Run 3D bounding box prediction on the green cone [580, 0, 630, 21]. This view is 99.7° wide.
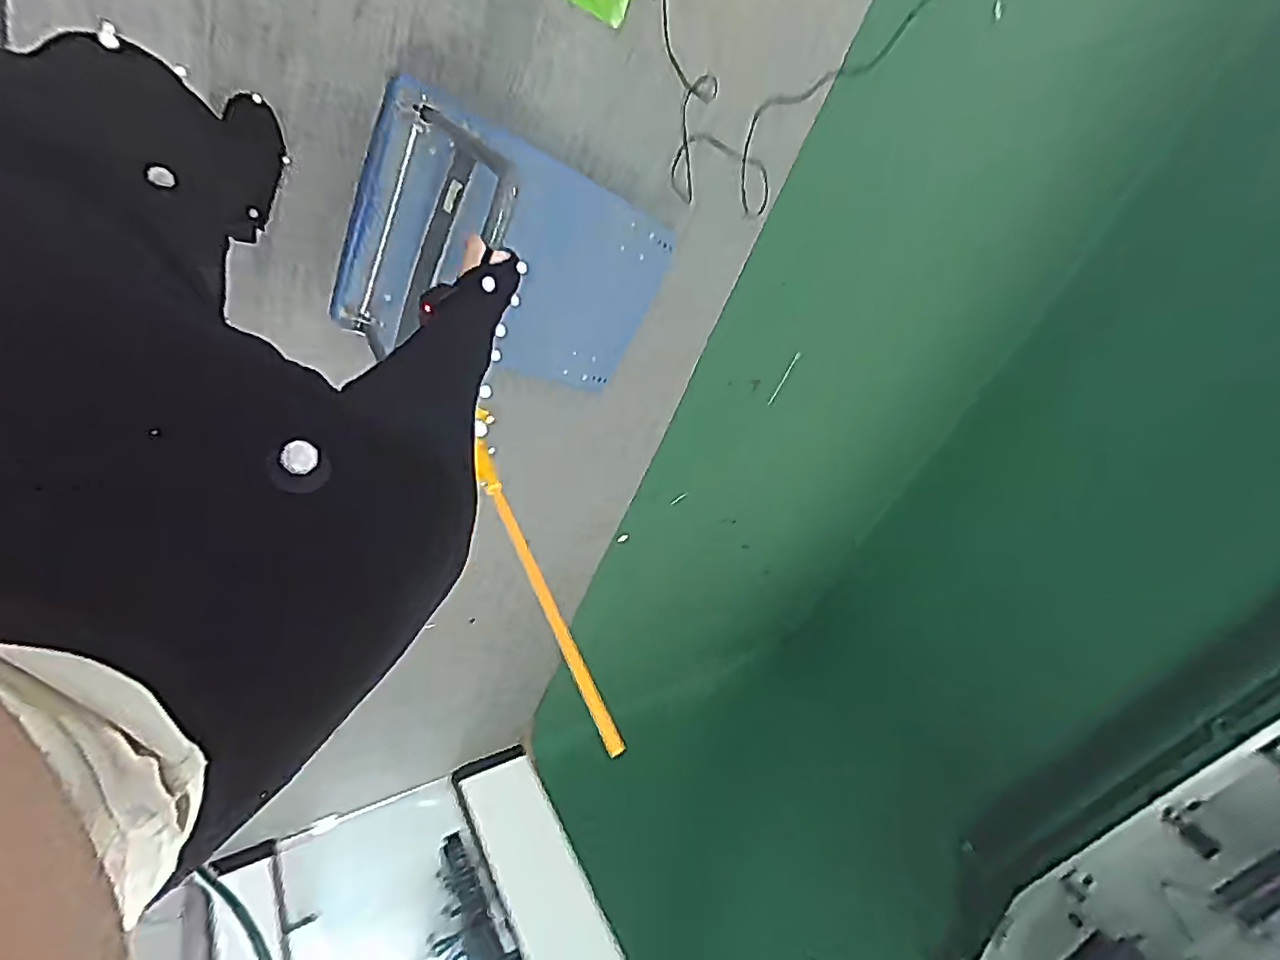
[{"bbox_3d":[0.006,-1.151,1.180,0.200,0.368,0.202,-5,128,-39],"label":"green cone"}]
